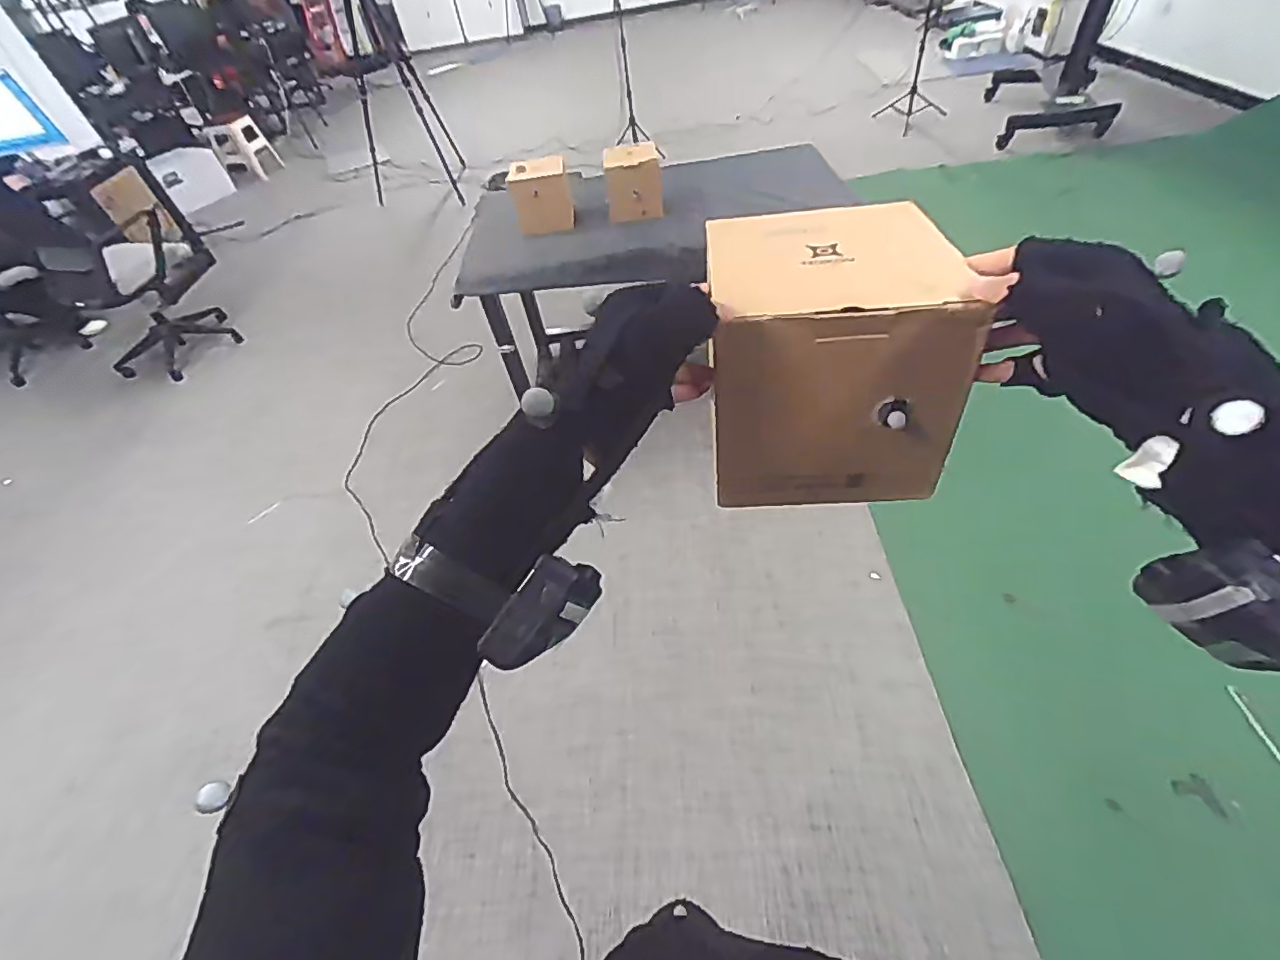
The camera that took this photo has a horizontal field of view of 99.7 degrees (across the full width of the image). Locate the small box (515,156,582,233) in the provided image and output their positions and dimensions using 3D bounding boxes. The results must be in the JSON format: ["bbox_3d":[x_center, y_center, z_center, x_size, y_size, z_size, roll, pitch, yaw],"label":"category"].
[{"bbox_3d":[-0.289,-0.912,1.737,0.179,0.176,0.168,-7,48,2],"label":"small box"}]

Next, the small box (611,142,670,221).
[{"bbox_3d":[0.003,-0.941,1.717,0.168,0.176,0.179,-6,48,4],"label":"small box"}]

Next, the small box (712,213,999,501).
[{"bbox_3d":[0.145,-0.095,0.439,0.168,0.176,0.179,-2,42,6],"label":"small box"}]
